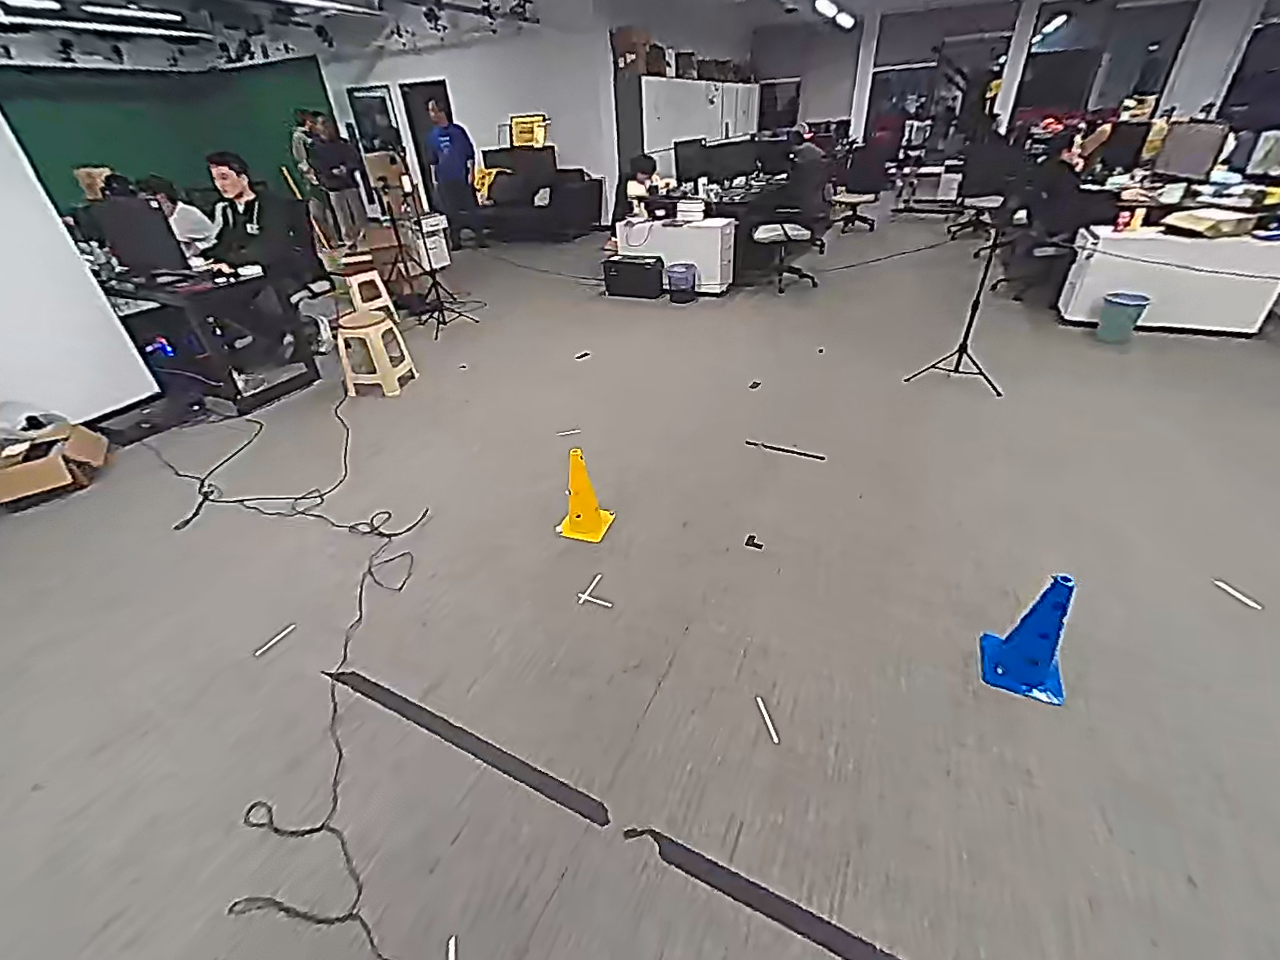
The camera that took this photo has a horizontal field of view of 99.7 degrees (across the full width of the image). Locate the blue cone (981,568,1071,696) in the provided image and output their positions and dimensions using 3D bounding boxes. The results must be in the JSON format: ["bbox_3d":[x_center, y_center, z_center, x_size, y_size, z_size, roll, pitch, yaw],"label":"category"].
[{"bbox_3d":[1.109,0.403,1.503,0.193,0.380,0.192,14,36,24],"label":"blue cone"}]
